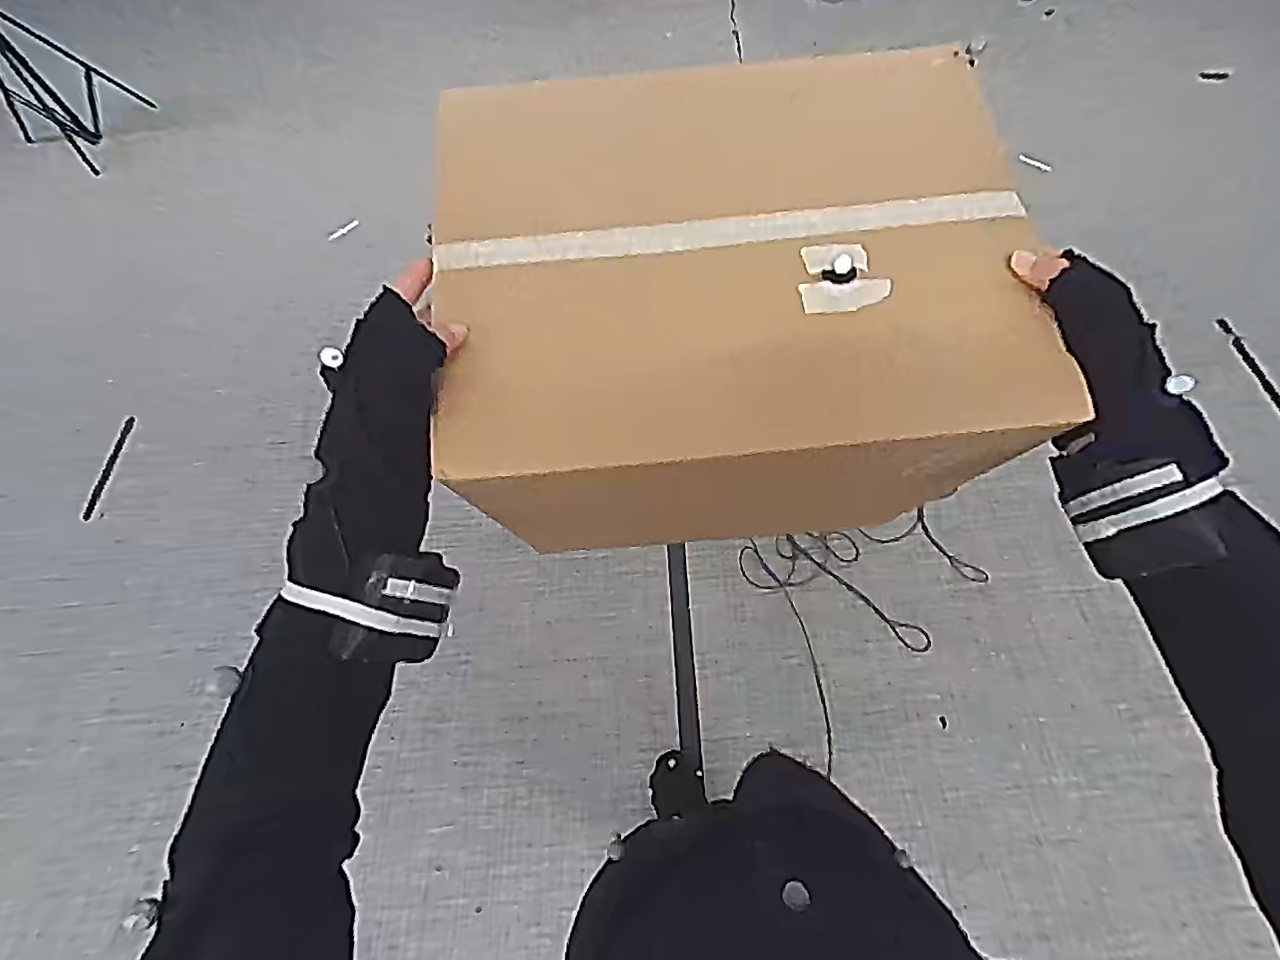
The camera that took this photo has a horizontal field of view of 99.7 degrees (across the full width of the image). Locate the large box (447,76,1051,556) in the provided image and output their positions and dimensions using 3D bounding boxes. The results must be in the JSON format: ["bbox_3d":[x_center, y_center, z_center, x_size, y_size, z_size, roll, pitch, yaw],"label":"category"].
[{"bbox_3d":[0.059,-0.119,0.535,0.408,0.320,0.320,-6,73,0],"label":"large box"}]
